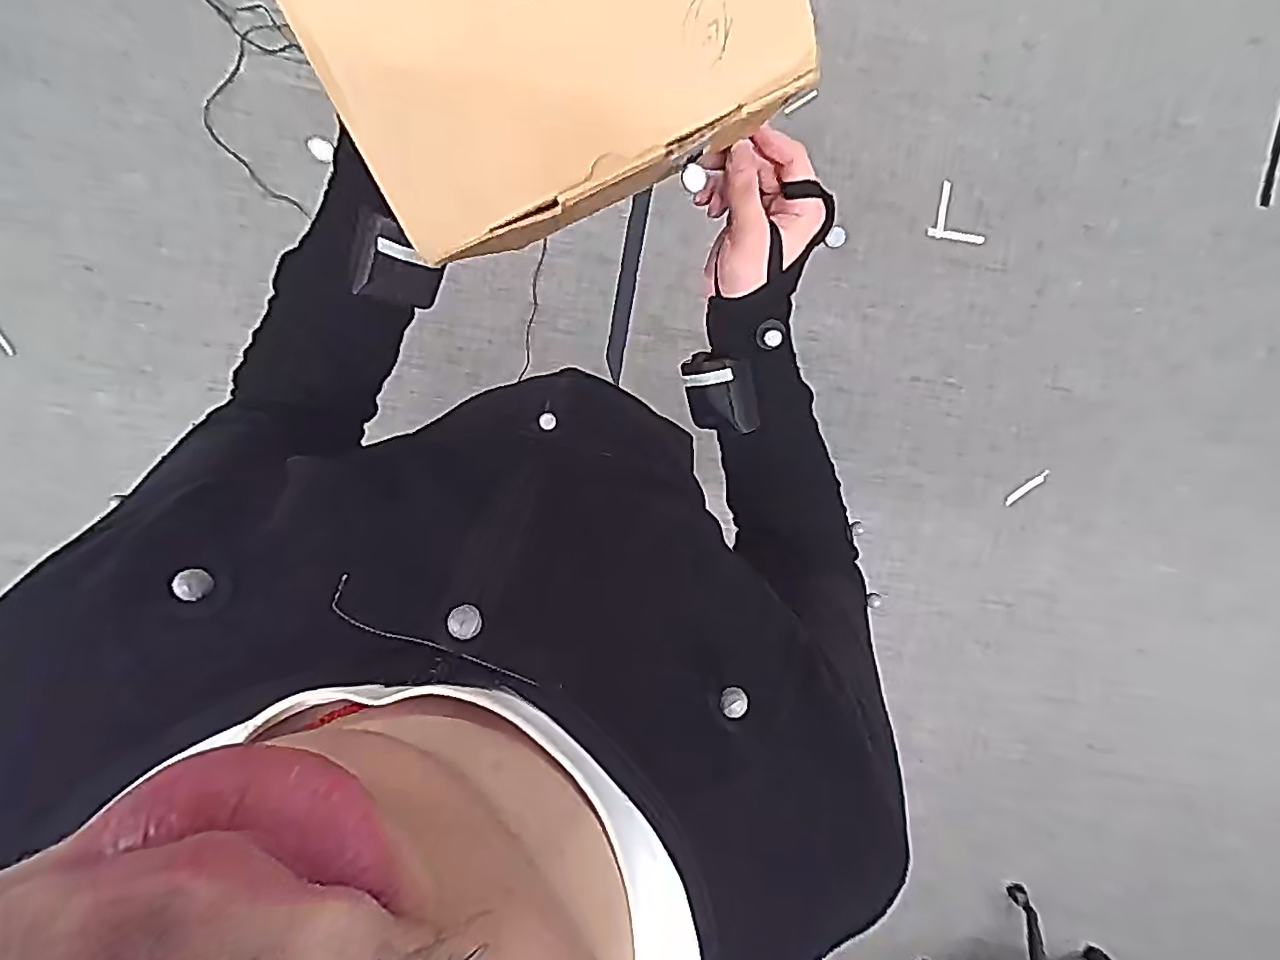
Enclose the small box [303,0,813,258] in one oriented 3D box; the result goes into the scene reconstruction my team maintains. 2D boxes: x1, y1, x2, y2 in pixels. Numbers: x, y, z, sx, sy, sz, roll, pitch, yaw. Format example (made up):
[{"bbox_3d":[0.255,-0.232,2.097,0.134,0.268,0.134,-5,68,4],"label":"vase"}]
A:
[{"bbox_3d":[-0.041,-0.225,0.252,0.168,0.176,0.179,-21,112,9],"label":"small box"}]
